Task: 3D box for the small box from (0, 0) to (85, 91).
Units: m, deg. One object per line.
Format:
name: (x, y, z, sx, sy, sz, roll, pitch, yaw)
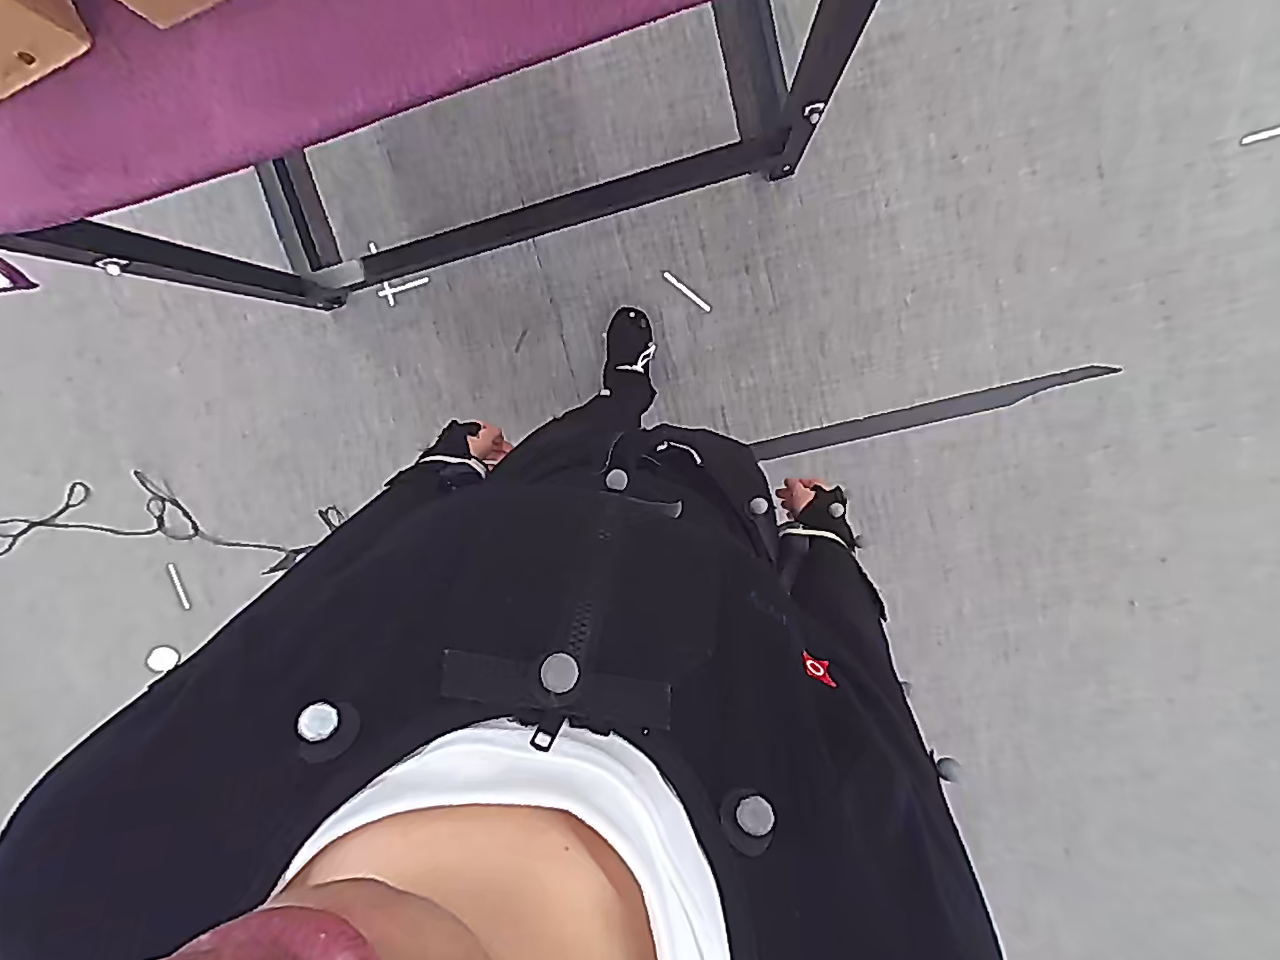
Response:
small box: (-0.711, -0.514, 0.517, 0.168, 0.176, 0.179, -20, 97, 8)
